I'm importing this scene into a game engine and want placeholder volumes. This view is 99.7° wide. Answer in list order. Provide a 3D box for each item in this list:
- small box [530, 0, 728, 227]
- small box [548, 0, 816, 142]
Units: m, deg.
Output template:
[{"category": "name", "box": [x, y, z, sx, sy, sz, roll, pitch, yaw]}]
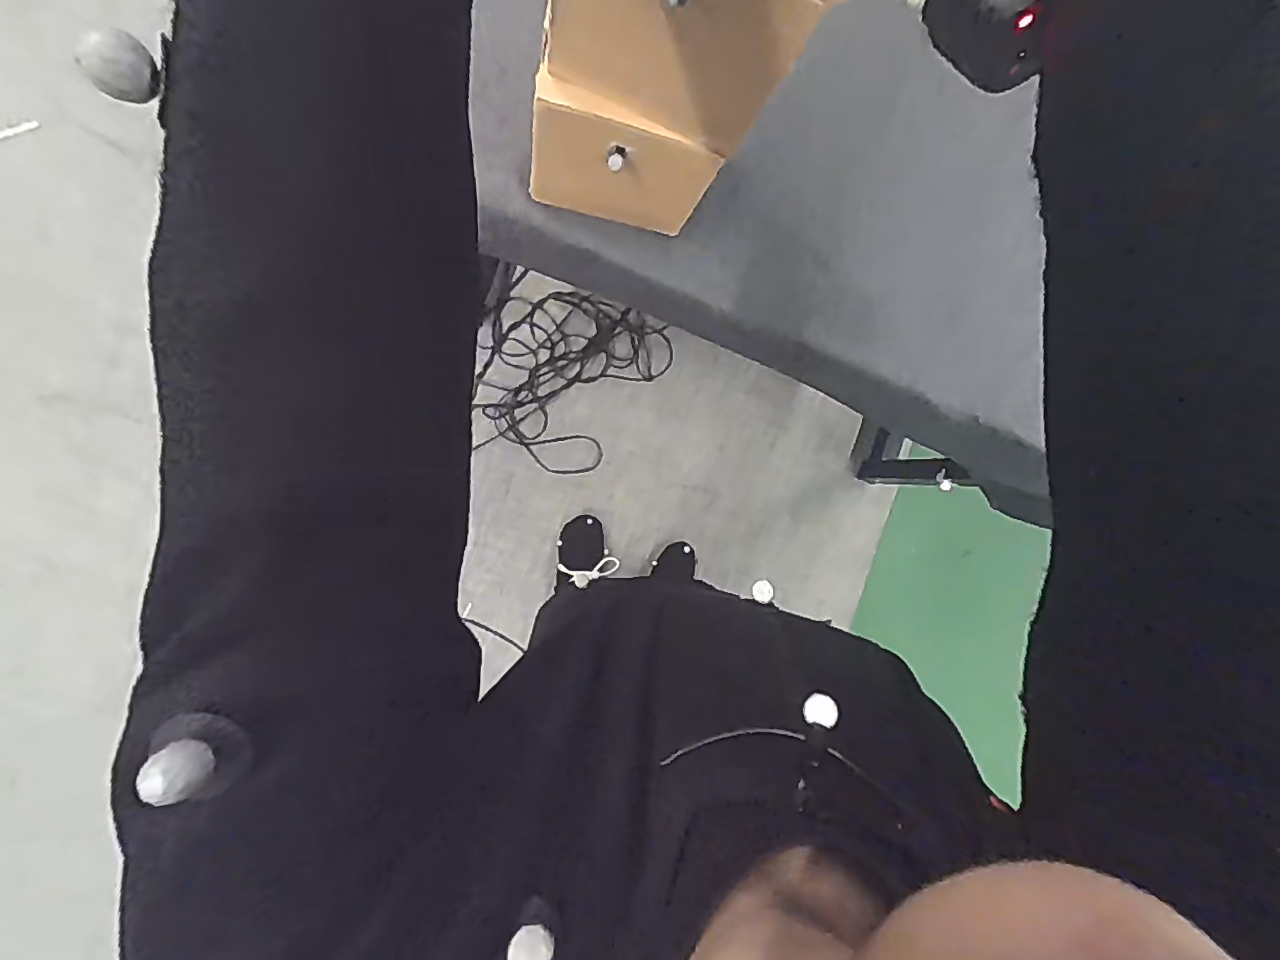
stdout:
[{"category": "small box", "box": [-0.010, -0.383, 0.545, 0.179, 0.176, 0.168, 10, 88, -11]}, {"category": "small box", "box": [0.039, -0.391, 0.390, 0.179, 0.176, 0.168, 18, 88, -11]}]
